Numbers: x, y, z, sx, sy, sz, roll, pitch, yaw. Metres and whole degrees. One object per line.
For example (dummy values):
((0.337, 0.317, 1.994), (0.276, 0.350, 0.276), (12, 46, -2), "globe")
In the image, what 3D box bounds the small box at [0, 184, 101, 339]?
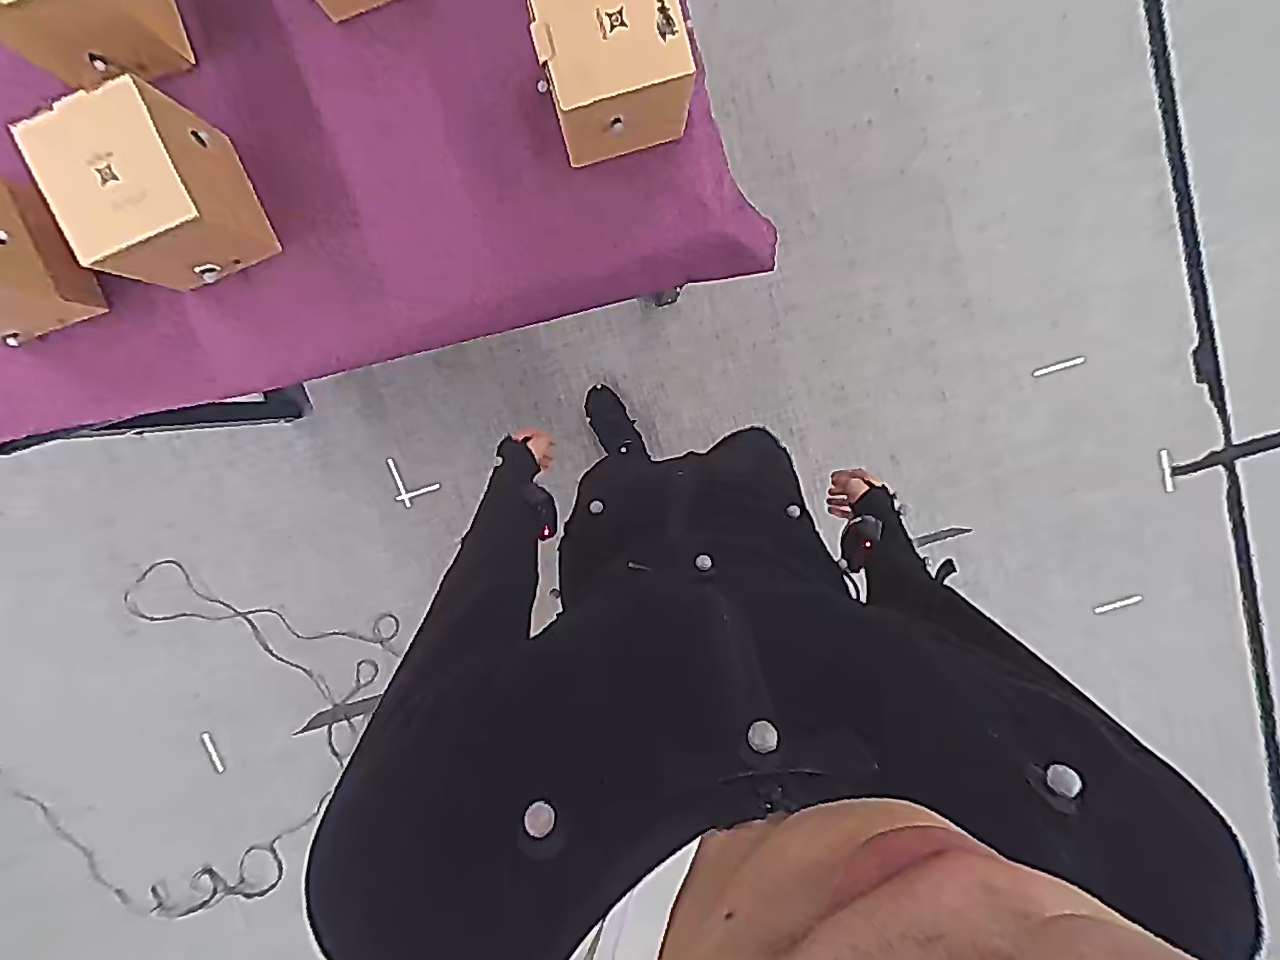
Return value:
((-0.912, -0.301, 0.736), (0.168, 0.176, 0.179), (-19, 97, 1), "small box")

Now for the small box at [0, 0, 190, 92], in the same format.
((-0.741, -0.646, 0.690), (0.168, 0.176, 0.179), (-15, 99, 0), "small box")

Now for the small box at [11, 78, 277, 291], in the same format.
((-0.650, -0.382, 0.735), (0.168, 0.176, 0.179), (-22, 98, 2), "small box")

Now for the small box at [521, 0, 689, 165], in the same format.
((-0.042, -0.557, 0.725), (0.179, 0.176, 0.168), (-16, 99, 2), "small box")
